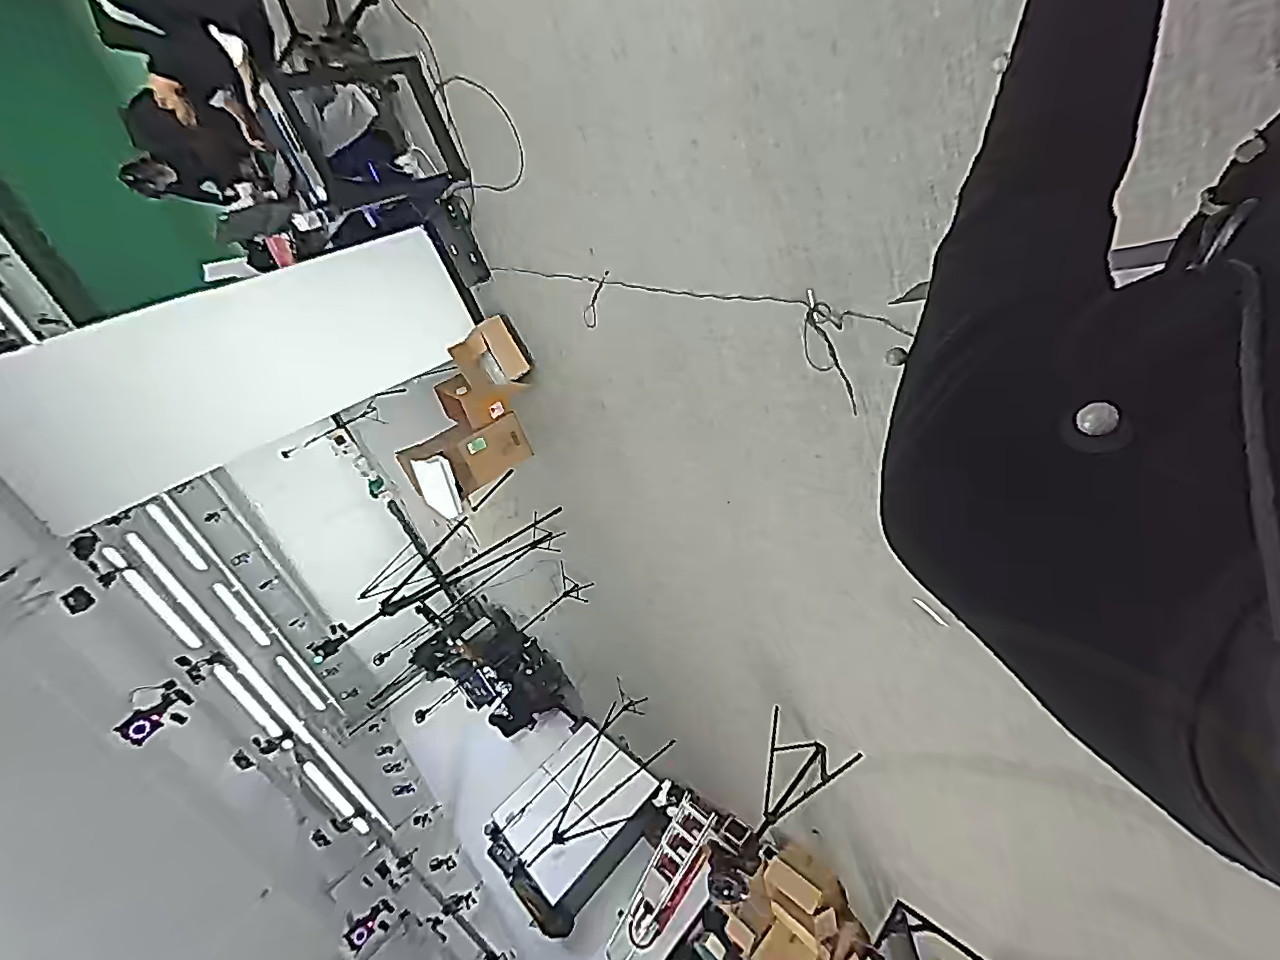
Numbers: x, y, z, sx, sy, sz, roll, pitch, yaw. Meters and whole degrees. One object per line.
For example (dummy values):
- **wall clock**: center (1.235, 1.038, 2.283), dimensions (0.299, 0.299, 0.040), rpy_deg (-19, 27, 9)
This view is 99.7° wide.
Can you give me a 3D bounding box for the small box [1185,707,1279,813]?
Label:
- **small box**: center (1.714, 0.797, 1.559), dimensions (0.168, 0.176, 0.179), rpy_deg (14, 133, 50)
